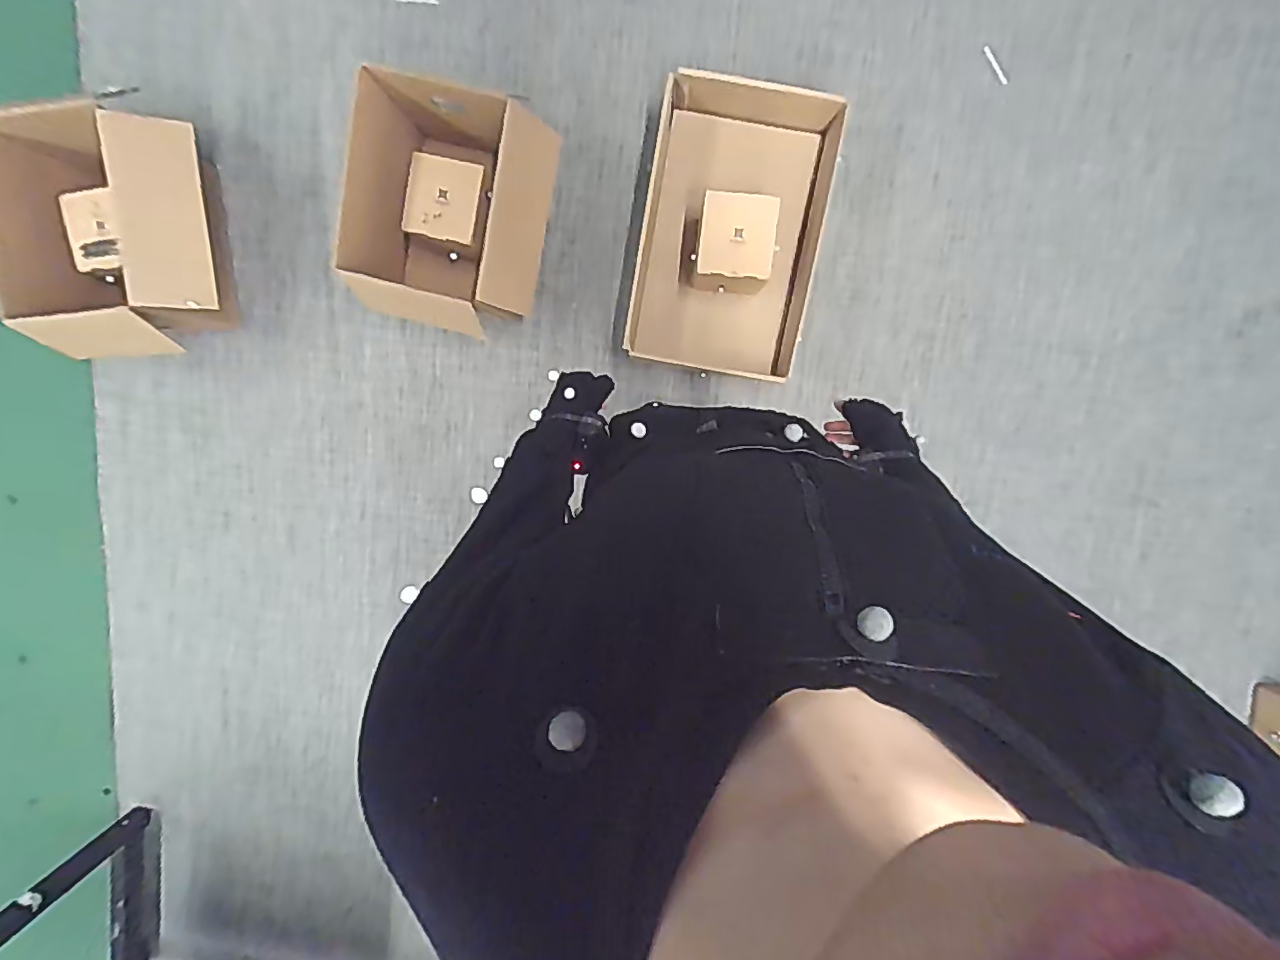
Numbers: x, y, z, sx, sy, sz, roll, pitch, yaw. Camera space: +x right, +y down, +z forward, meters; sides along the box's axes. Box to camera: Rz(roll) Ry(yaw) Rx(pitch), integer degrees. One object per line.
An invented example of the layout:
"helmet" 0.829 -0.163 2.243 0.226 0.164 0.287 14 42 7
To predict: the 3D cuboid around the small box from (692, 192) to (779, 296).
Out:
"small box" 0.215 -0.542 1.260 0.168 0.176 0.179 5 98 1
